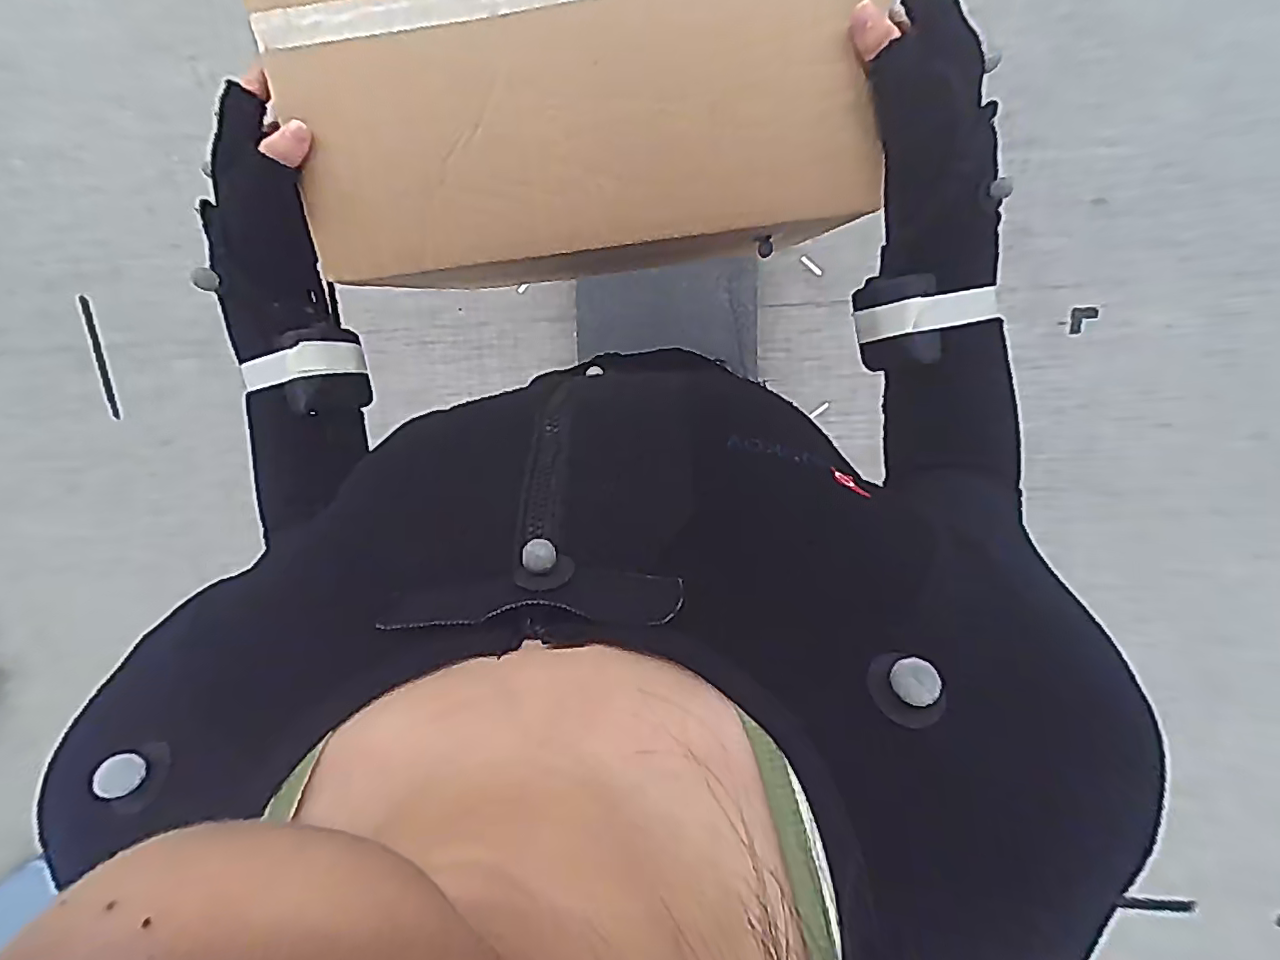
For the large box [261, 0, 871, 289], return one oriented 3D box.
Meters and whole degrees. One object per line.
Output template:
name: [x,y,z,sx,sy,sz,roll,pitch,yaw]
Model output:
large box: [-0.046,-0.361,0.493,0.408,0.320,0.320,-6,107,4]
